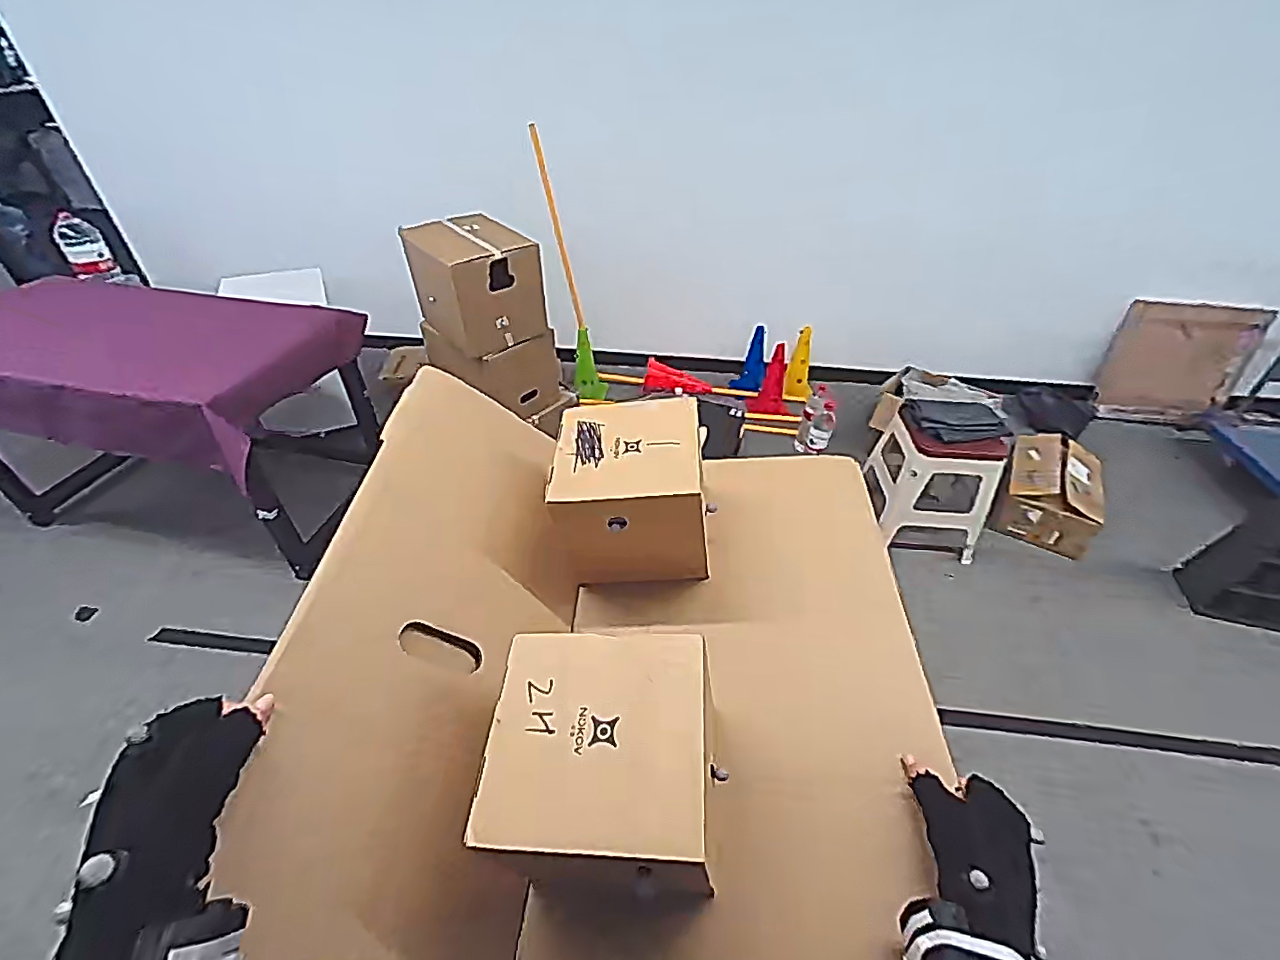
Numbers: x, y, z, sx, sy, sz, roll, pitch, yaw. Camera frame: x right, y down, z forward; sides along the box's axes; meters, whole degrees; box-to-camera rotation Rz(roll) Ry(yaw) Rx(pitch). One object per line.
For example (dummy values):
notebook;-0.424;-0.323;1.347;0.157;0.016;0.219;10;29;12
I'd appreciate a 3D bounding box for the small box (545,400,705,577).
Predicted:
small box;-0.008;0.016;0.715;0.179;0.176;0.168;-4;47;7

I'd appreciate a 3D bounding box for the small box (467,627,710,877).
small box;-0.026;0.251;0.499;0.179;0.176;0.168;-3;47;10
